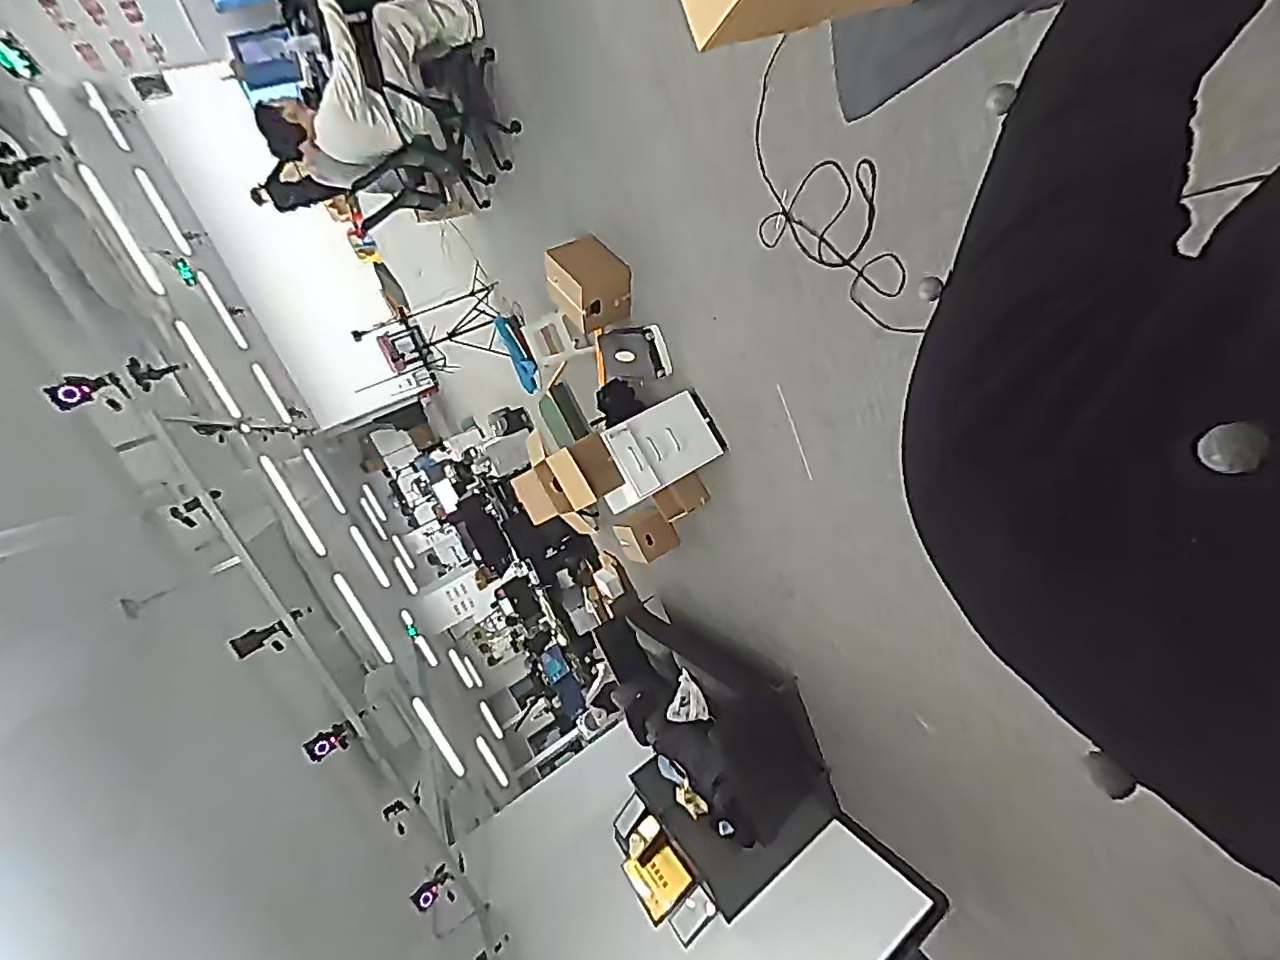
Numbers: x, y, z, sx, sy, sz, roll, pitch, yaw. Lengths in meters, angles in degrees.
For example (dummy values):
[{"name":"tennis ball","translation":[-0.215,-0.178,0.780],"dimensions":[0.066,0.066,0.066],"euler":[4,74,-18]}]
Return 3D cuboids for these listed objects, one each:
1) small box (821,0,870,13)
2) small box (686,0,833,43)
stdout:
[{"name":"small box","translation":[0.274,-0.617,0.528],"dimensions":[0.179,0.176,0.168],"euler":[15,131,63]},{"name":"small box","translation":[0.134,-0.546,0.484],"dimensions":[0.179,0.176,0.168],"euler":[5,122,65]}]
